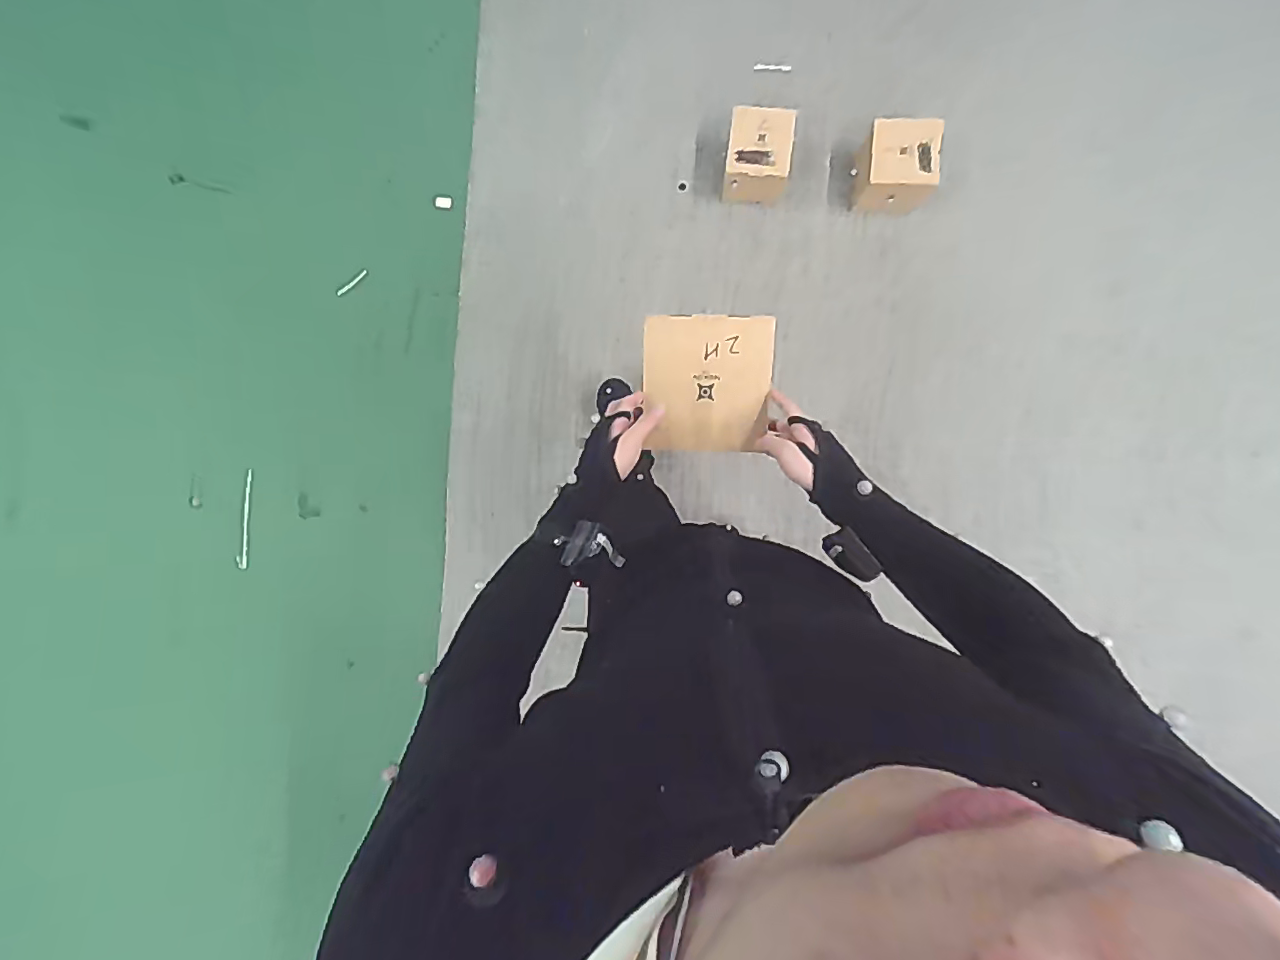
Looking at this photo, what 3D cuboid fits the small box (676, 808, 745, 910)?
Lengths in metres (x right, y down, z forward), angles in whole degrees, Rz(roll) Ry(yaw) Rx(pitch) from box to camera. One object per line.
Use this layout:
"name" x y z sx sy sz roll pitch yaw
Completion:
"small box" 0.196 1.074 1.547 0.179 0.176 0.168 4 93 3

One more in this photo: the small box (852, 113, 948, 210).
"small box" 0.686 -0.841 1.443 0.179 0.176 0.168 4 92 5

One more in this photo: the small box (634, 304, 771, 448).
"small box" 0.085 -0.150 0.761 0.168 0.176 0.179 3 104 5
